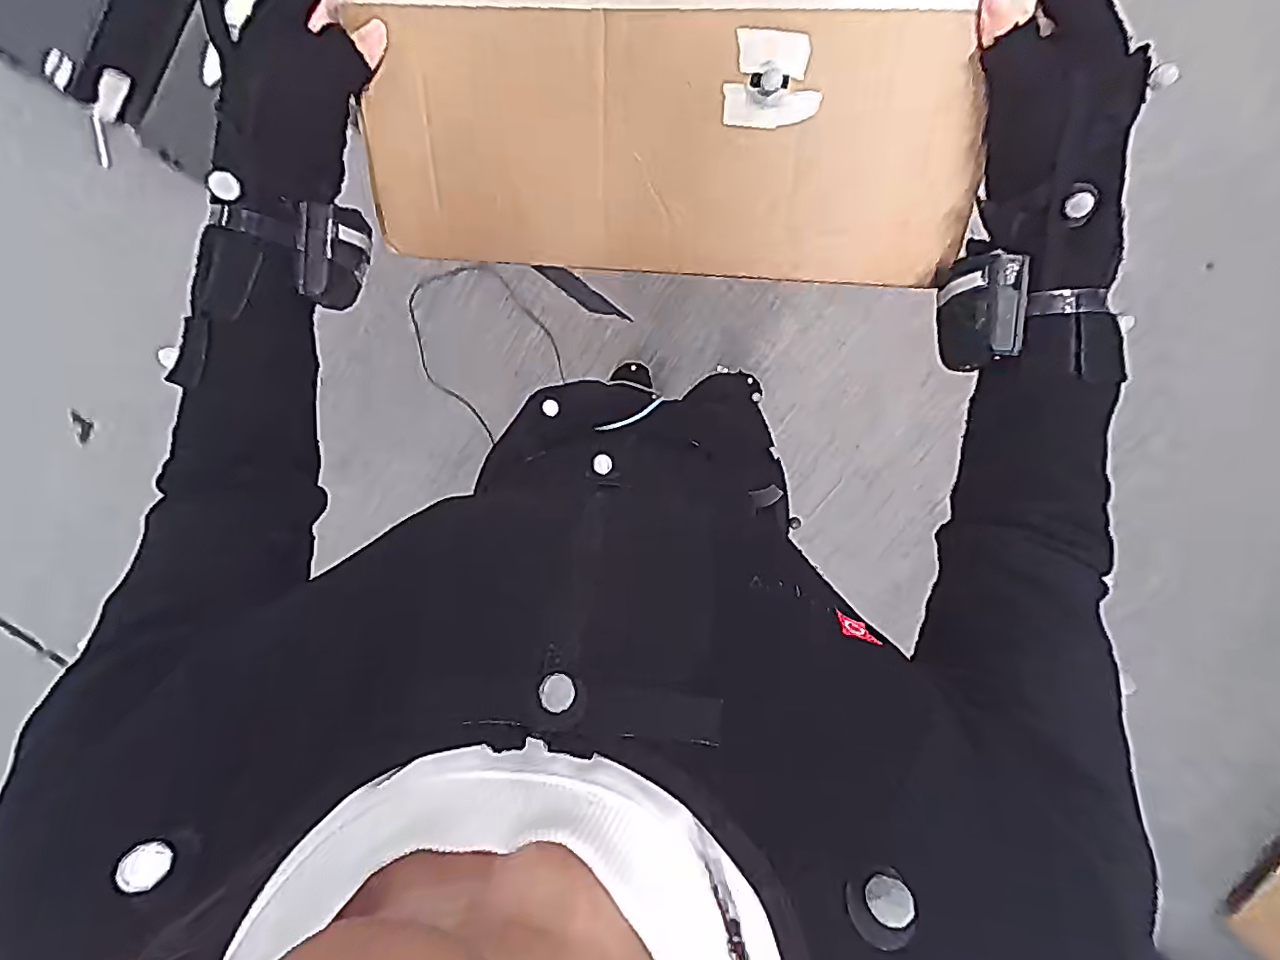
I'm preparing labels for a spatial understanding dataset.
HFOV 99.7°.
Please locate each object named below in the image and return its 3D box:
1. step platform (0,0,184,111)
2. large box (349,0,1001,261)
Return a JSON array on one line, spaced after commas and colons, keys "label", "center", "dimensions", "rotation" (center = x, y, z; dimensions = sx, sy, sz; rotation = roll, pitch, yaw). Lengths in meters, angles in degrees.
[{"label": "step platform", "center": [-1.085, -1.202, 1.155], "dimensions": [0.286, 0.204, 0.684], "rotation": [35, 102, -5]}, {"label": "large box", "center": [0.026, -0.371, 0.451], "dimensions": [0.408, 0.320, 0.320], "rotation": [4, 121, 5]}]
